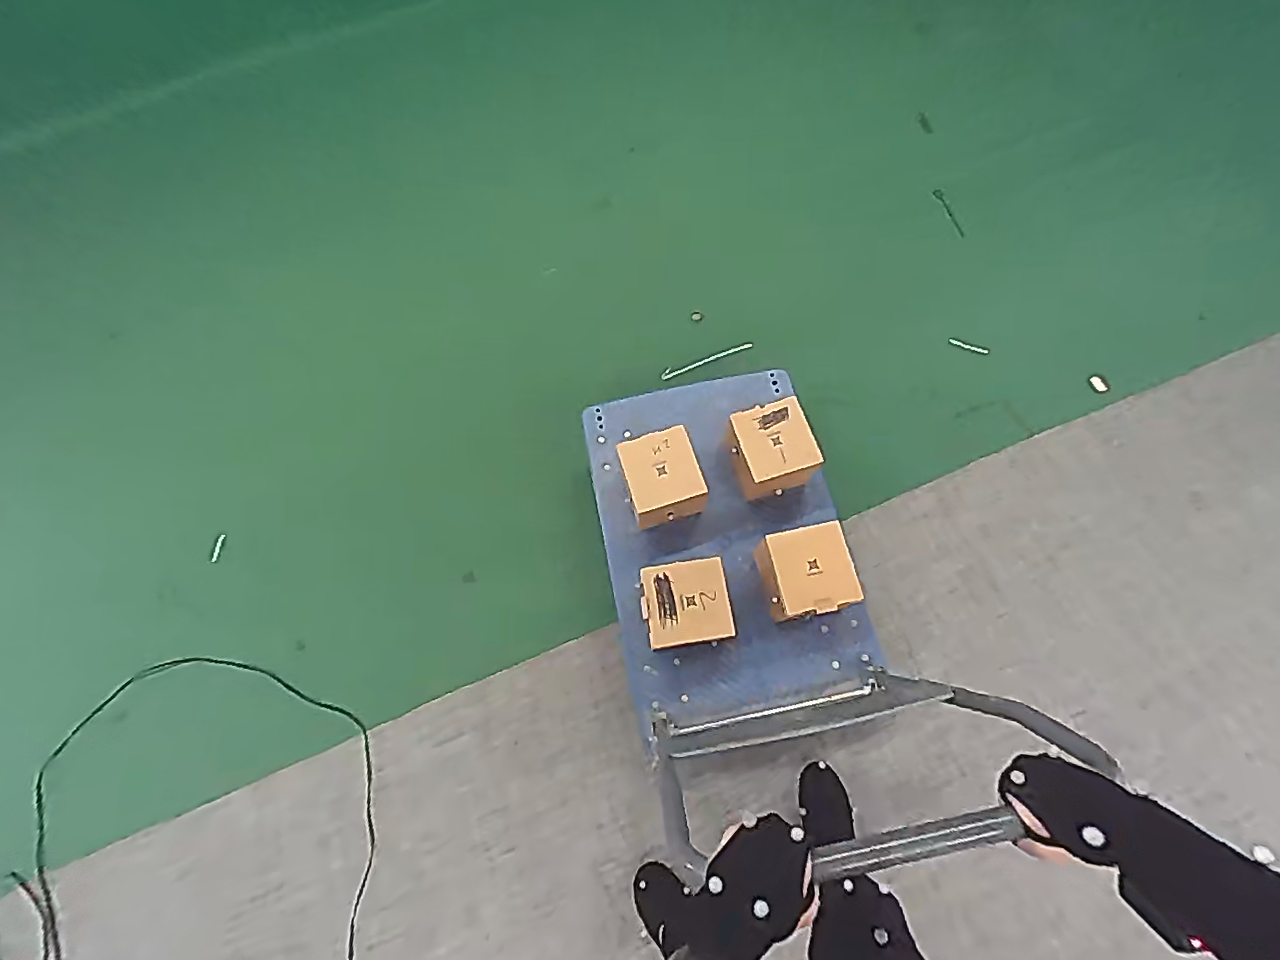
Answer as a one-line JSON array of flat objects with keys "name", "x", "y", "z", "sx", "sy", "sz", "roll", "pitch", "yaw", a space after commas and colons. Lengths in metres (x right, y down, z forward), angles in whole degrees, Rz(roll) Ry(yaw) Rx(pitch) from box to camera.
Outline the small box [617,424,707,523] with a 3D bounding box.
[{"name": "small box", "x": 0.051, "y": -0.007, "z": 1.285, "sx": 0.168, "sy": 0.176, "sz": 0.179, "roll": -16, "pitch": 73, "yaw": -5}]

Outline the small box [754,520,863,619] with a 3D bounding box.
[{"name": "small box", "x": 0.366, "y": 0.206, "z": 1.213, "sx": 0.168, "sy": 0.176, "sz": 0.179, "roll": -12, "pitch": 73, "yaw": -2}]

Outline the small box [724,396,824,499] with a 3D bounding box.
[{"name": "small box", "x": 0.311, "y": -0.073, "z": 1.301, "sx": 0.168, "sy": 0.176, "sz": 0.179, "roll": -16, "pitch": 73, "yaw": -3}]
